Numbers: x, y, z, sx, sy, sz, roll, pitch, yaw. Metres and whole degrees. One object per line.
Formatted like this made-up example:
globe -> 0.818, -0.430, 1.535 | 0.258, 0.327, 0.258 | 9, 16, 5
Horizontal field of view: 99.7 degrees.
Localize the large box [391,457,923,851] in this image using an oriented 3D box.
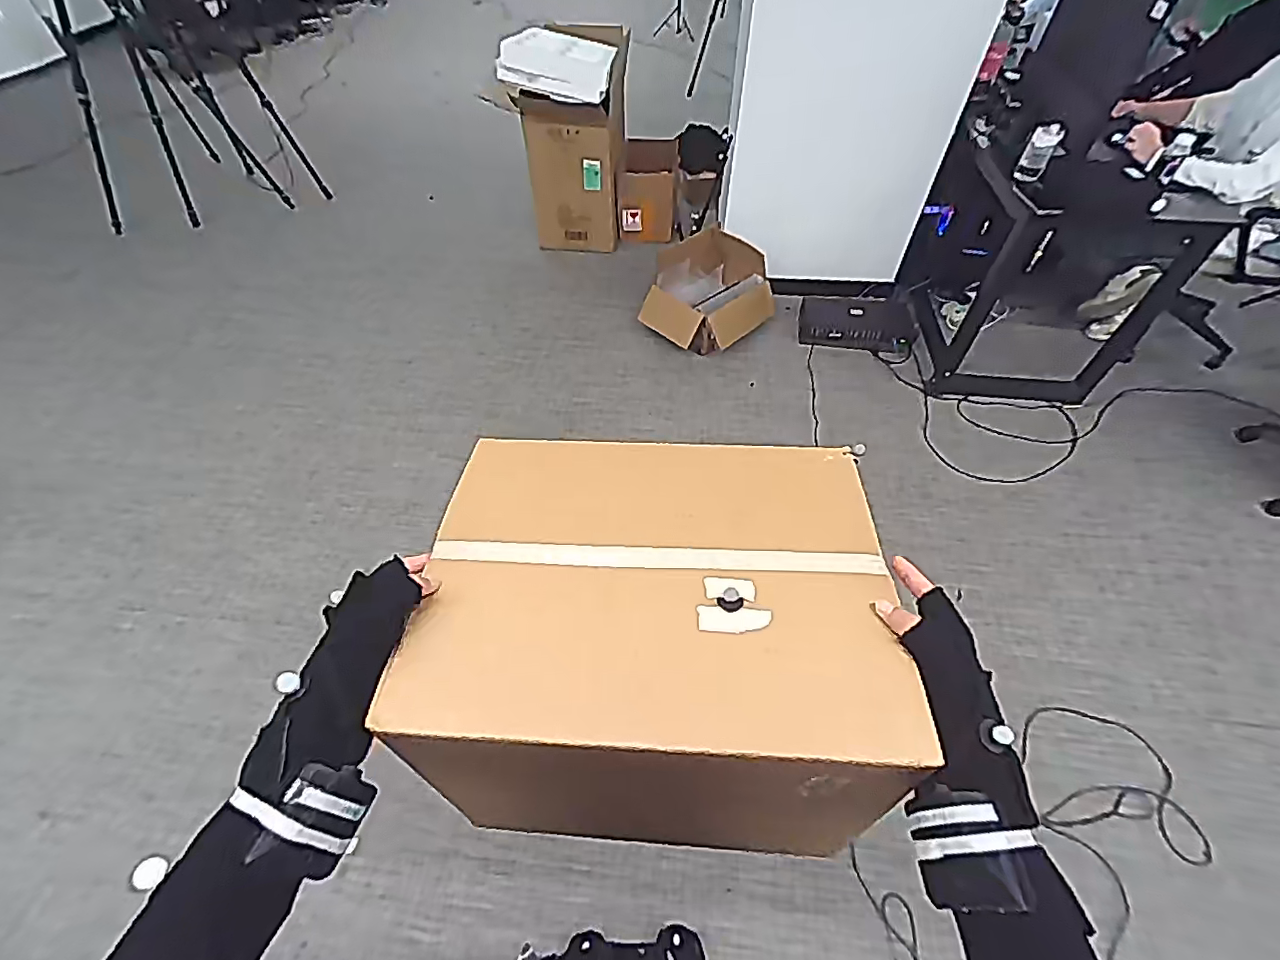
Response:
large box -> 0.019, 0.190, 0.605 | 0.408, 0.320, 0.320 | 2, 46, 5
